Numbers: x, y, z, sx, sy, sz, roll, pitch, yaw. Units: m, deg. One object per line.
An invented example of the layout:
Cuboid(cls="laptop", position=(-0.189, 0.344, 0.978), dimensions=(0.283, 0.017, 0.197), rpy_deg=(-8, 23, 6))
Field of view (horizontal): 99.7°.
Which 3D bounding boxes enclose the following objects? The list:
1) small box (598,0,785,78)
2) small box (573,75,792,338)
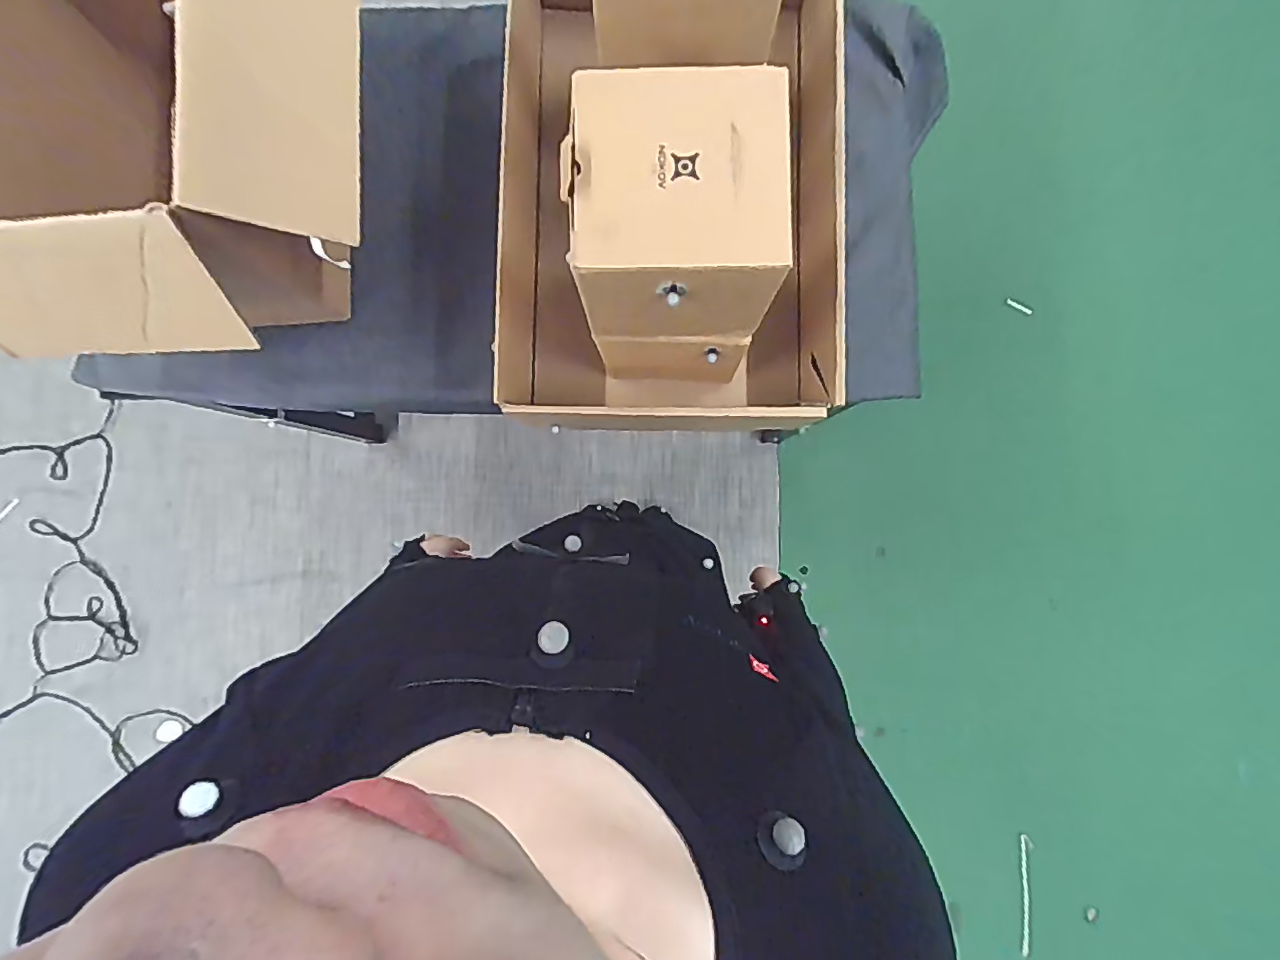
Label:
Cuboid(cls="small box", position=(0.046, -0.492, 0.523), dimensions=(0.168, 0.176, 0.179), rpy_deg=(2, 89, 1))
Cuboid(cls="small box", position=(0.036, -0.239, 0.512), dimensions=(0.179, 0.176, 0.168), rpy_deg=(0, 87, 0))
